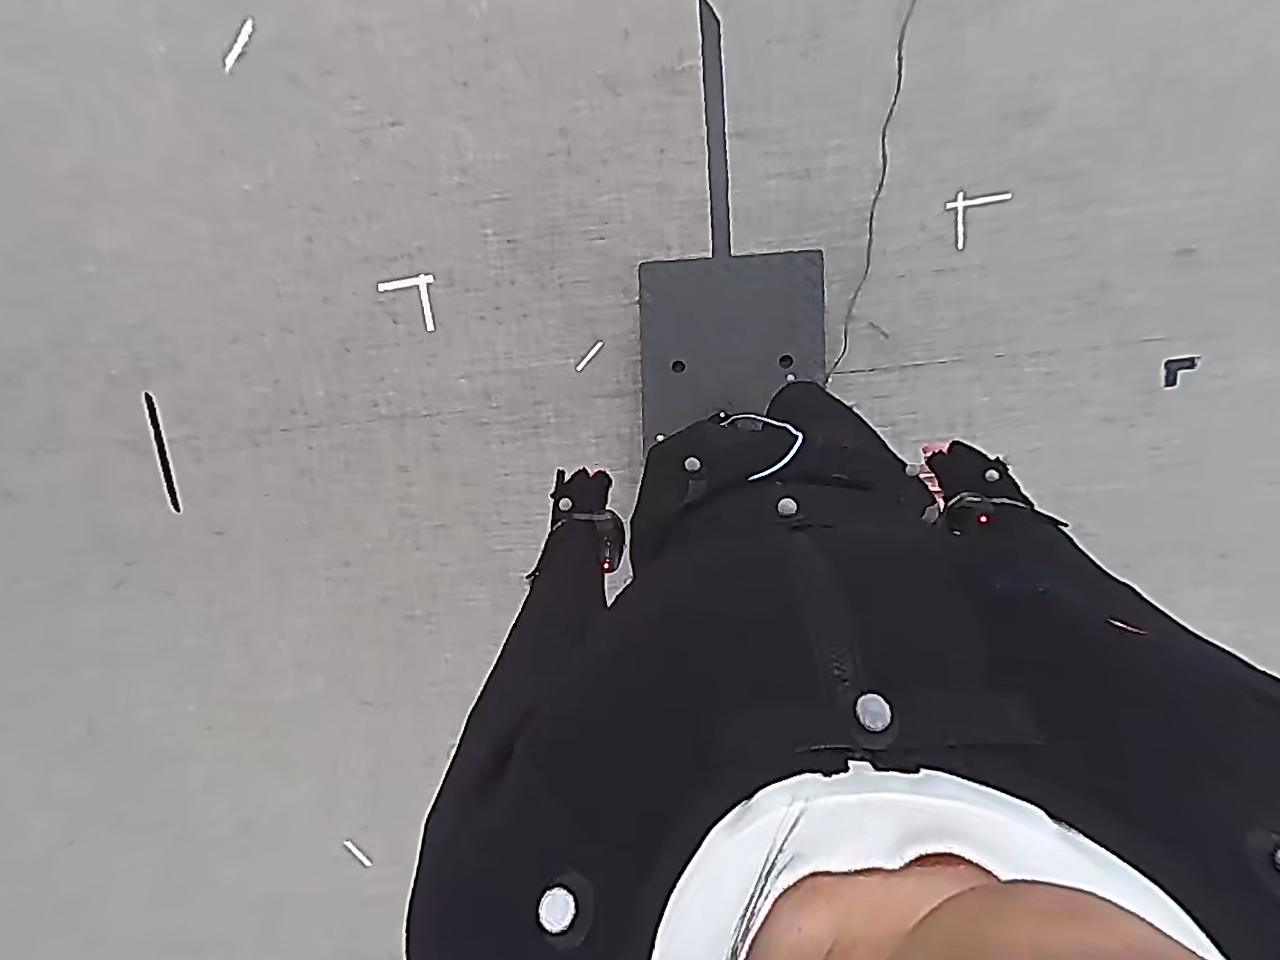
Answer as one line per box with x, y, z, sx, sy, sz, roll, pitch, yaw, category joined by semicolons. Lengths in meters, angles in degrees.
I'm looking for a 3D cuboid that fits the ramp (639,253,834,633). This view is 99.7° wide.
0.249;-0.094;1.449;0.509;0.206;0.991;-3;98;9;ramp
